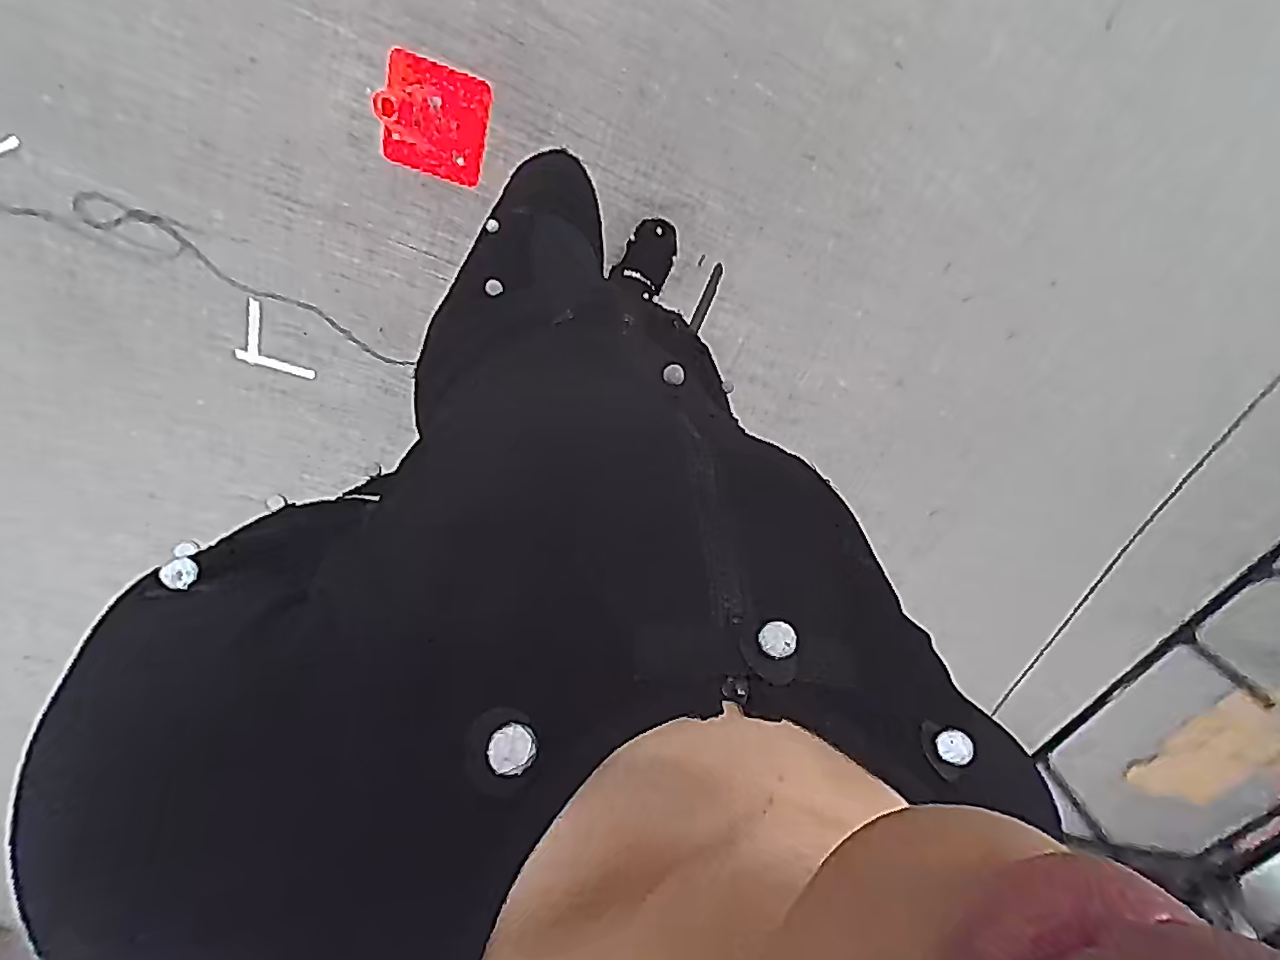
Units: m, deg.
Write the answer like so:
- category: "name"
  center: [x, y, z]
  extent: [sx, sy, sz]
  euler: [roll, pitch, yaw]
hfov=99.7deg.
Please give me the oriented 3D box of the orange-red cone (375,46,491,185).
- category: "orange-red cone"
  center: [-0.396, -0.649, 0.949]
  extent: [0.198, 0.360, 0.199]
  euler: [14, 116, -15]
